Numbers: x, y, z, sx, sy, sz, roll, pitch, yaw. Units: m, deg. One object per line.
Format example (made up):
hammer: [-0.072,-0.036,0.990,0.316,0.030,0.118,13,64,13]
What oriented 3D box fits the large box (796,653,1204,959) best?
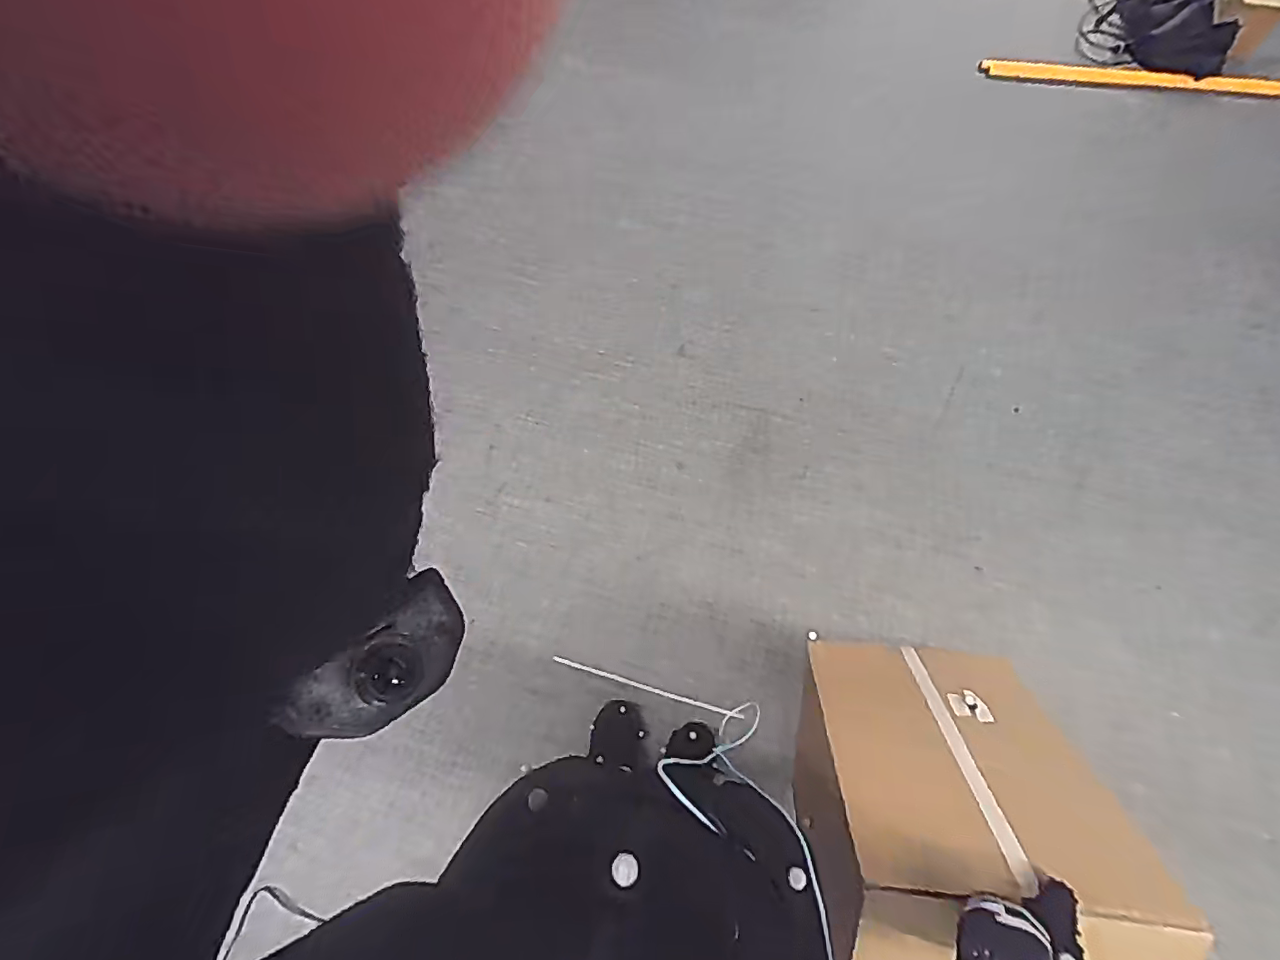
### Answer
large box: [0.408,0.501,0.753,0.320,0.408,0.320,3,109,8]
